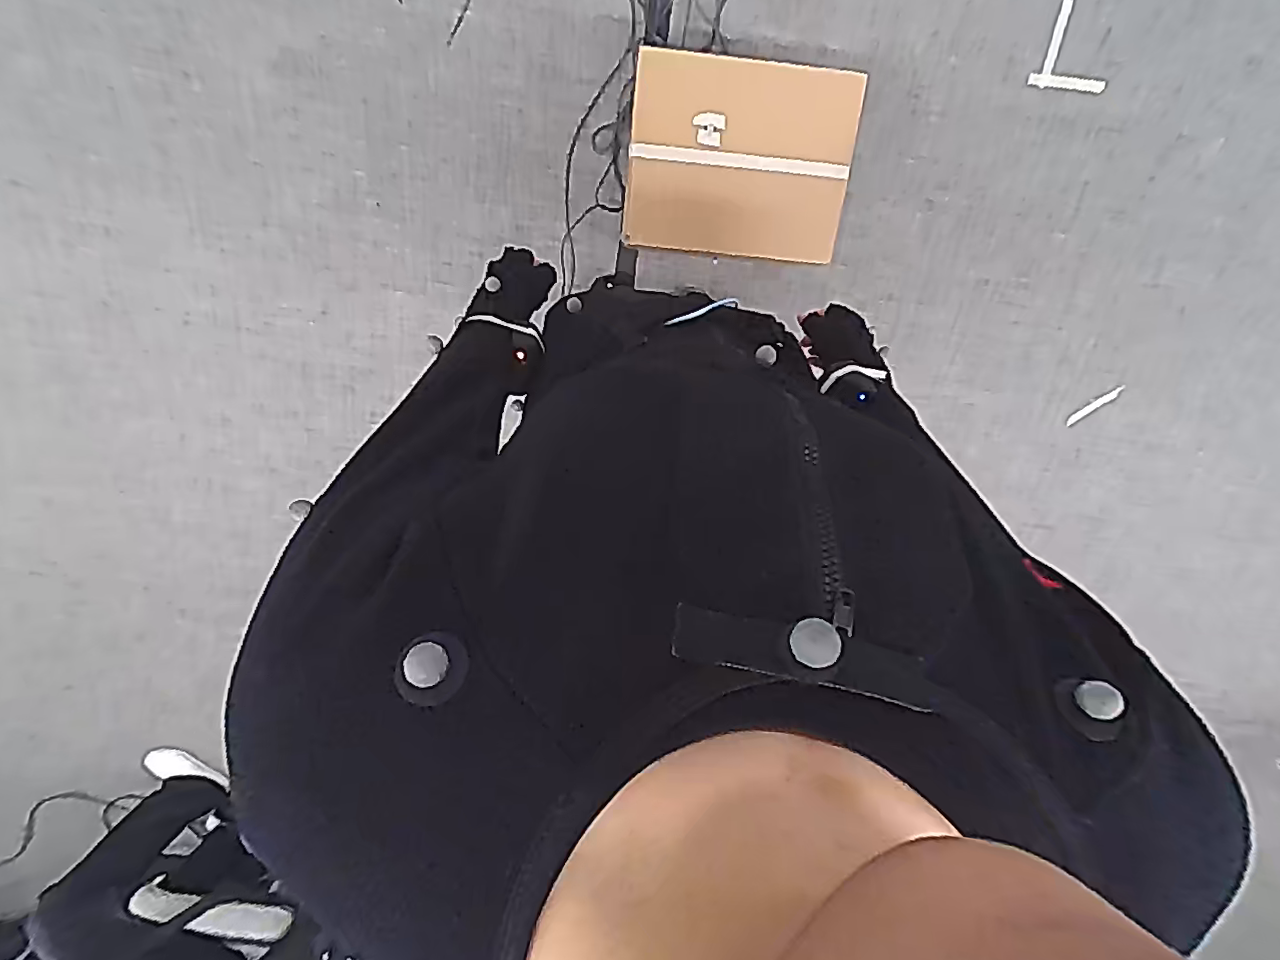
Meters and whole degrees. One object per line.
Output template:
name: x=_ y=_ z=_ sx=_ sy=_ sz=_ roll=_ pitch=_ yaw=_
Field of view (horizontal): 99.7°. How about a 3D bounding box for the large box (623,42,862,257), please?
large box: x=0.178 y=-0.647 z=1.123 sx=0.408 sy=0.320 sz=0.320 roll=5 pitch=111 yaw=-3
